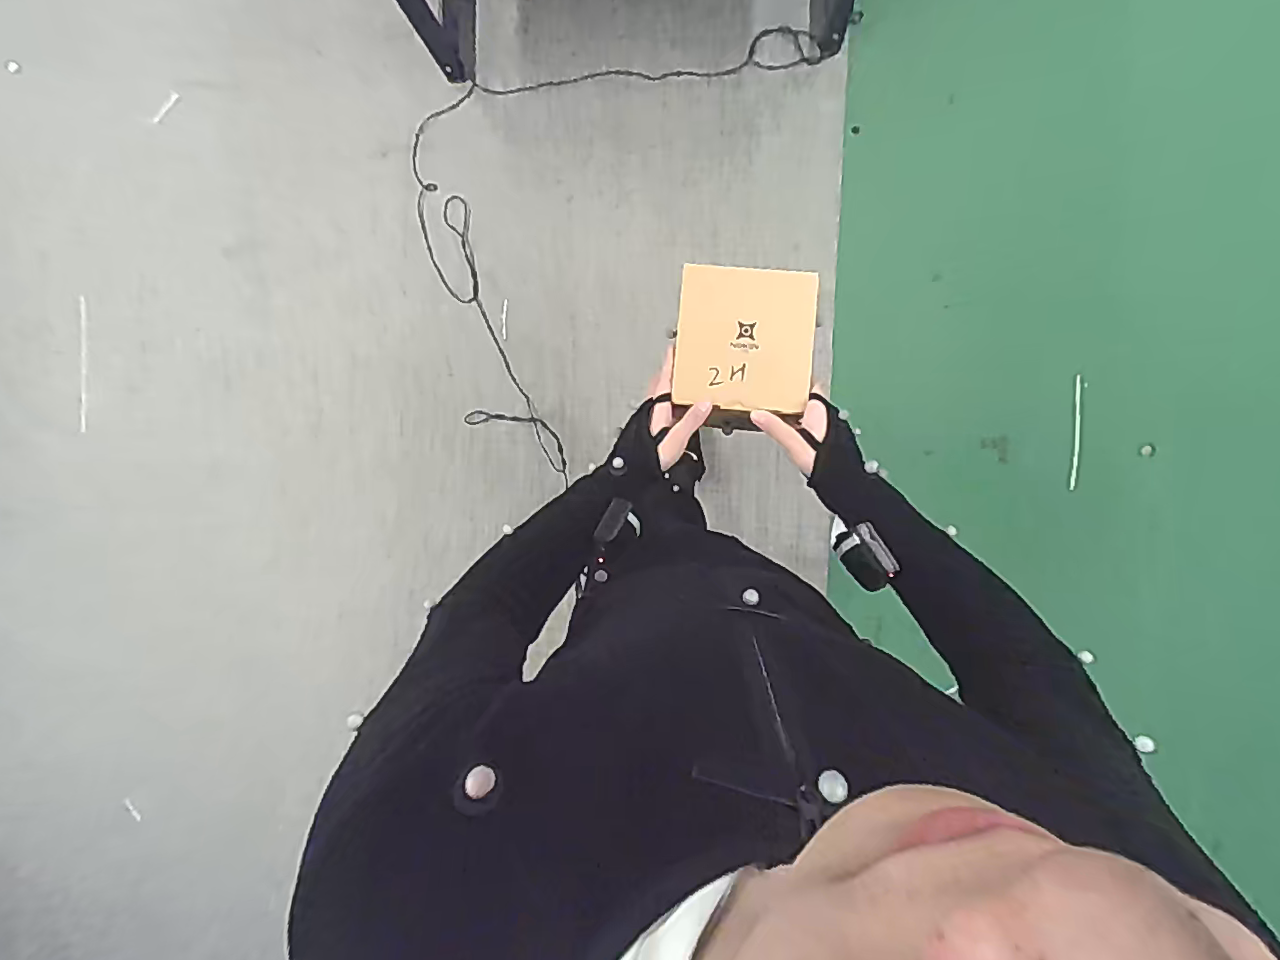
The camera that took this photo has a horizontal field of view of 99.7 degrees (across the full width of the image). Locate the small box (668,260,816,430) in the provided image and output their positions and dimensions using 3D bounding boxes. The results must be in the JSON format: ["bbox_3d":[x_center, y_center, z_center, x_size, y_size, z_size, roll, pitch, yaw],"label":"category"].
[{"bbox_3d":[0.127,-0.172,0.731,0.168,0.176,0.179,5,88,4],"label":"small box"}]
